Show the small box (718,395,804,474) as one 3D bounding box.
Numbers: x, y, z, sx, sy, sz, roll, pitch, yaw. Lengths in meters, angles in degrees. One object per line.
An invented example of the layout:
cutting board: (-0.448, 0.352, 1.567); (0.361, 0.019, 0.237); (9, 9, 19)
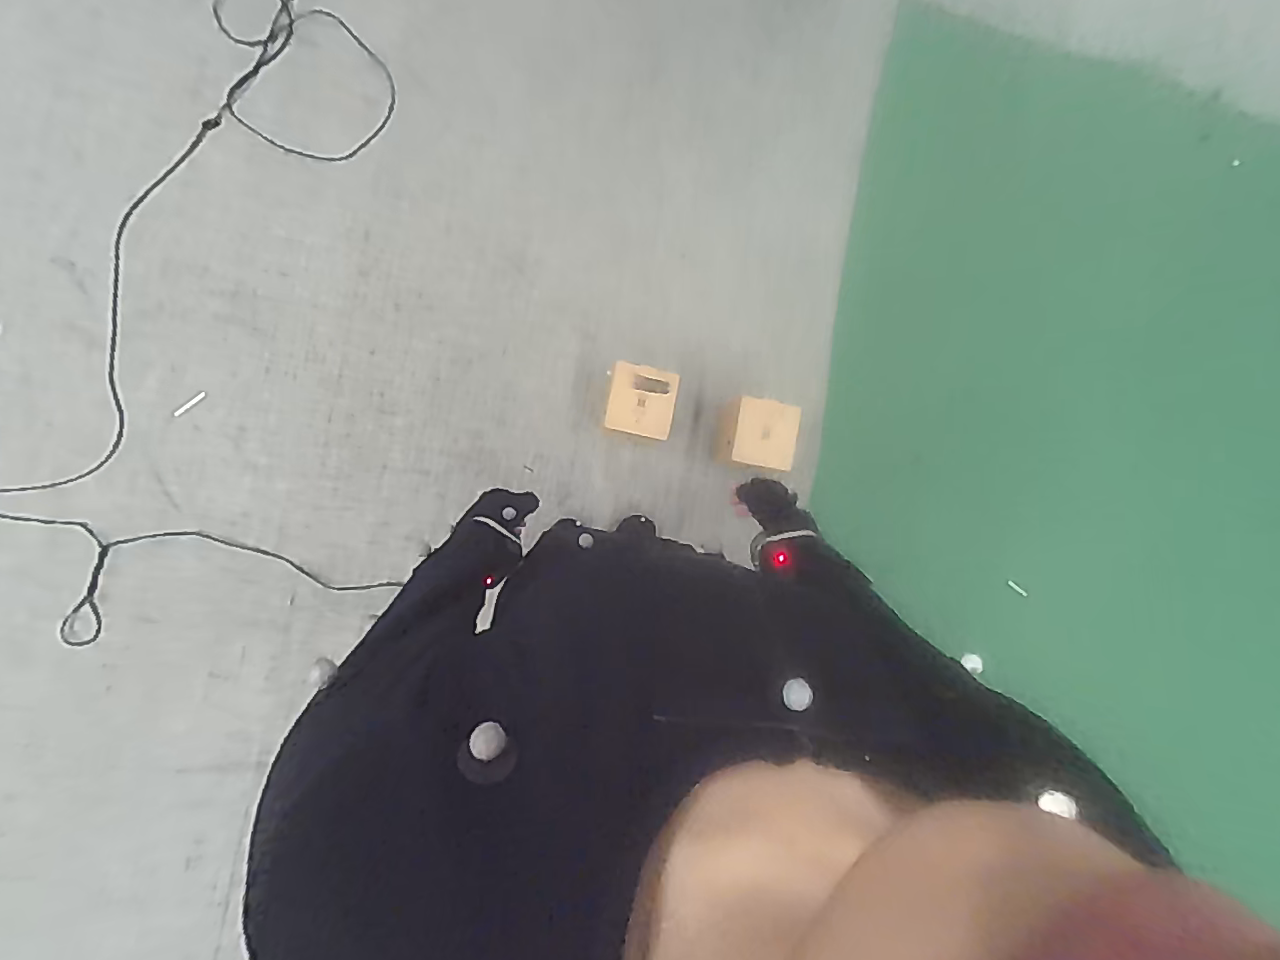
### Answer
small box: (0.318, -0.114, 1.459); (0.168, 0.176, 0.179); (11, 86, -8)
